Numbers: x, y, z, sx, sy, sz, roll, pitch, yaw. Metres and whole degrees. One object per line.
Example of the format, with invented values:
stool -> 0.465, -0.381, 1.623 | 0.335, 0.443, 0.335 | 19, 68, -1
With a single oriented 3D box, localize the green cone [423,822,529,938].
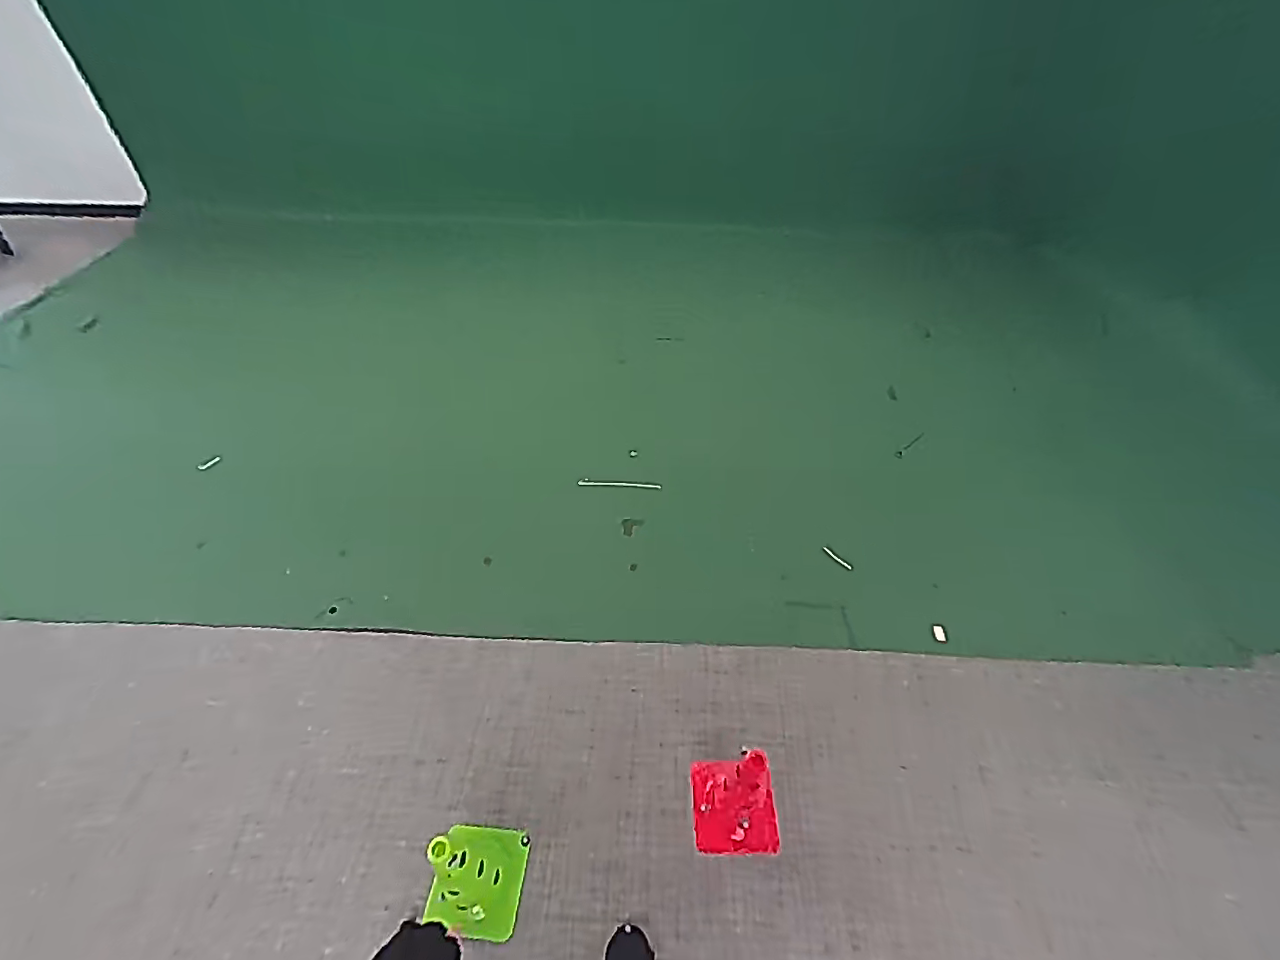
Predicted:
green cone -> -0.363, 0.775, 1.088 | 0.200, 0.368, 0.202 | 3, 47, 3
